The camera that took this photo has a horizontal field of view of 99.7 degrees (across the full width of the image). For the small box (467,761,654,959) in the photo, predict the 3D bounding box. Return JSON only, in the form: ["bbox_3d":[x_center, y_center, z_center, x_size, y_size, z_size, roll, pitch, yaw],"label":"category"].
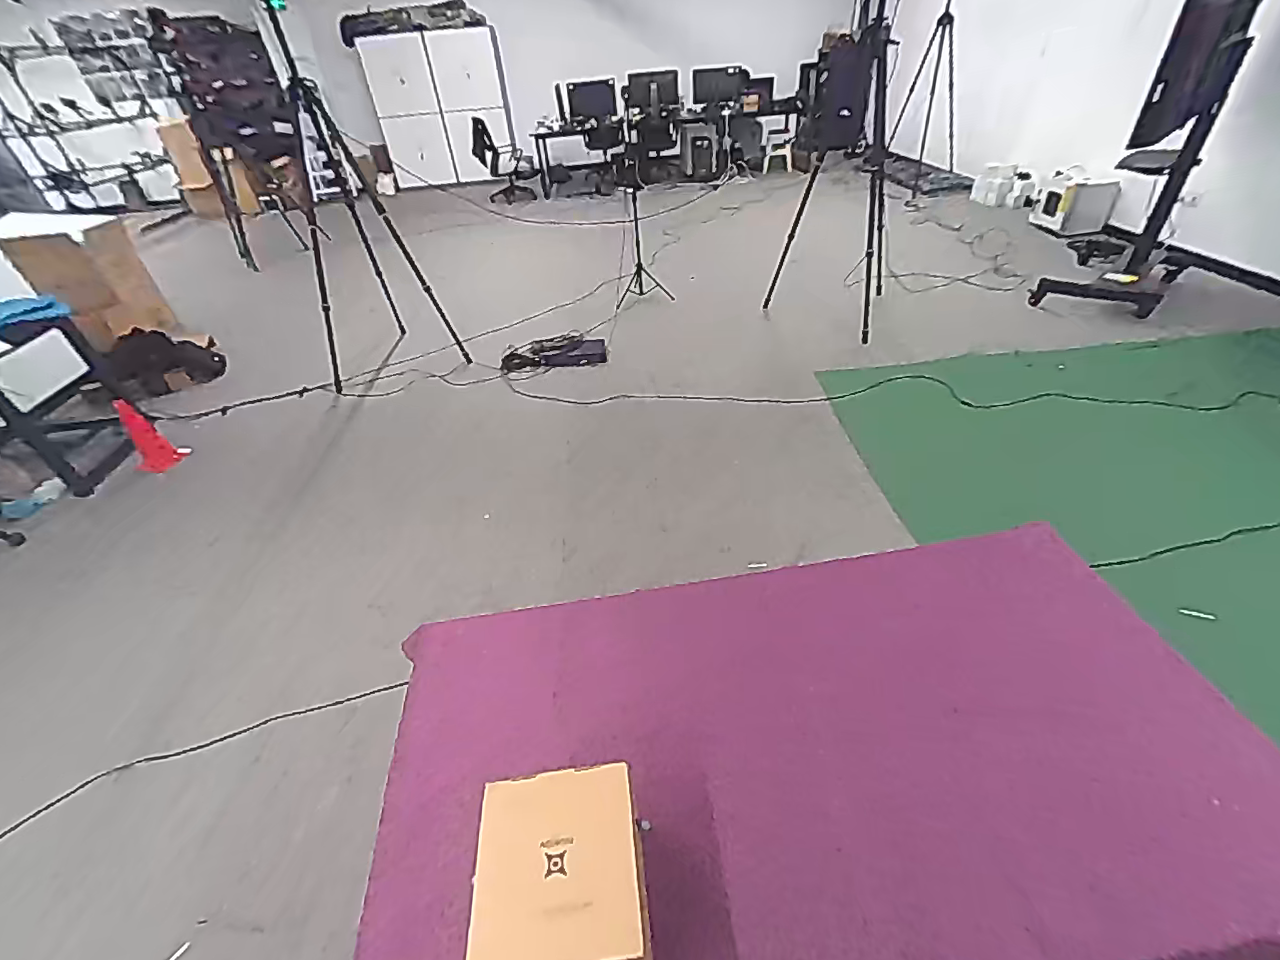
[{"bbox_3d":[-0.079,0.450,0.605,0.168,0.176,0.179,-8,39,-1],"label":"small box"}]
